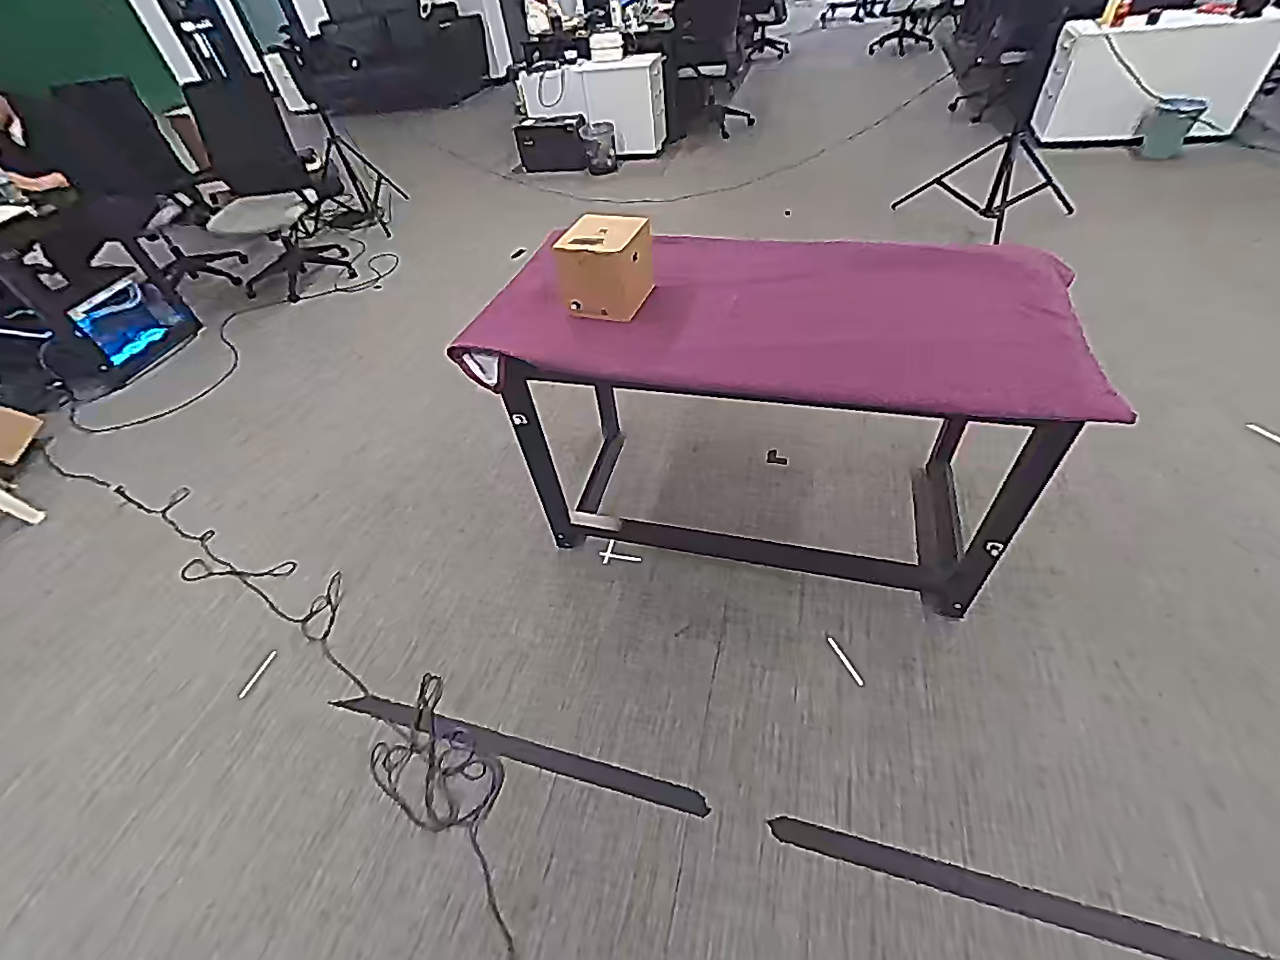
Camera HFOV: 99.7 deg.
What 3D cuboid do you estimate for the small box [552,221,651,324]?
[{"bbox_3d":[-0.080,-0.486,1.269,0.168,0.176,0.179,13,50,19],"label":"small box"}]
